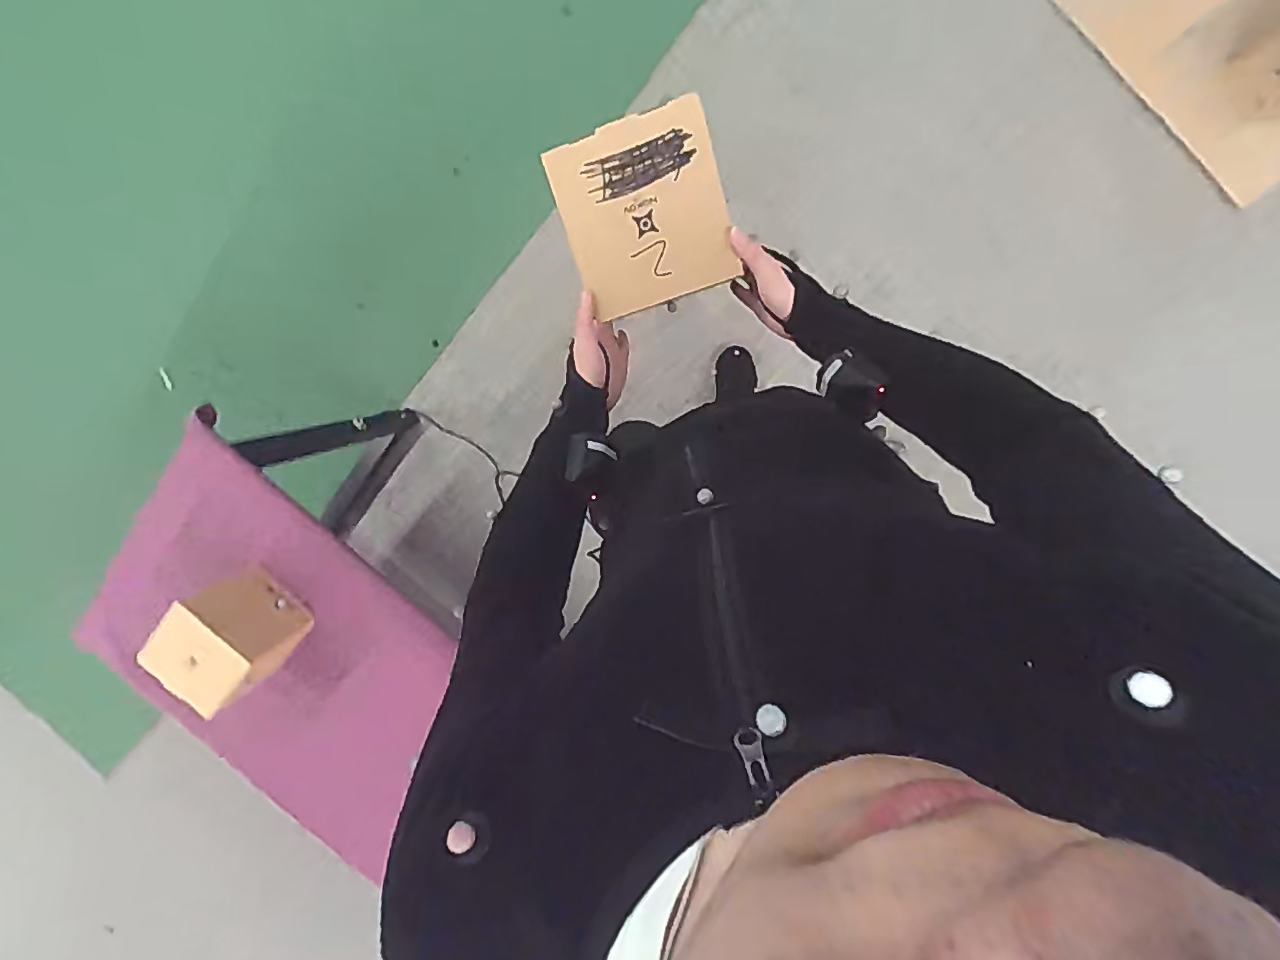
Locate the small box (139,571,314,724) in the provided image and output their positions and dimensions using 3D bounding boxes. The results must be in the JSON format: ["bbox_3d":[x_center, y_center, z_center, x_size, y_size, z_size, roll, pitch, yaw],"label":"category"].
[{"bbox_3d":[-0.761,0.305,1.014,0.168,0.176,0.179,44,107,-4],"label":"small box"}]
